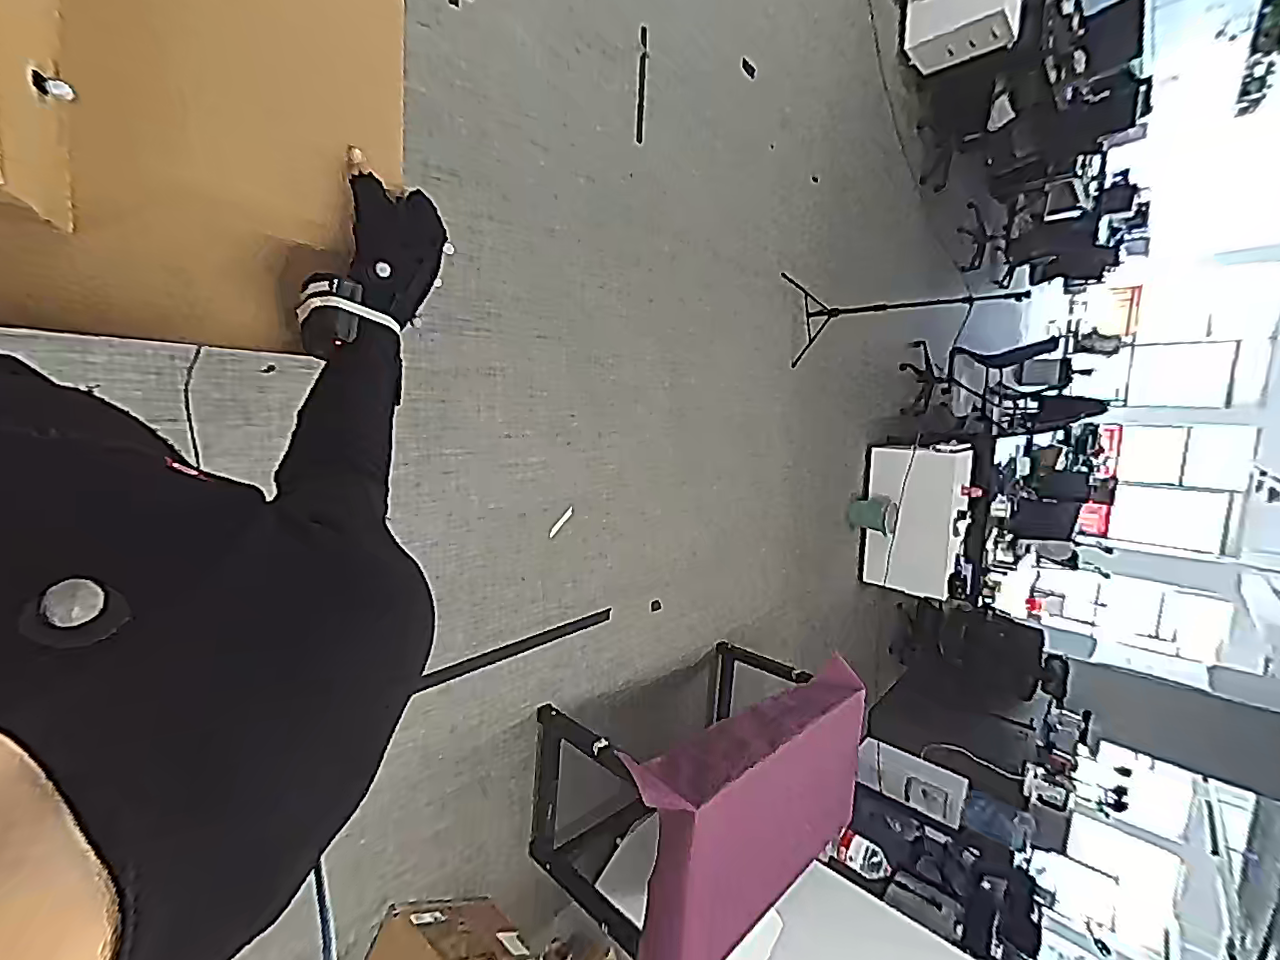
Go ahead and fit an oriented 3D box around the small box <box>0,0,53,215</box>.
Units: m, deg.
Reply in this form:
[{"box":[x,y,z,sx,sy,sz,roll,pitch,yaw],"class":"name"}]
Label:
[{"box":[-0.440,-0.252,0.275,0.179,0.176,0.168,0,101,-38],"class":"small box"}]
